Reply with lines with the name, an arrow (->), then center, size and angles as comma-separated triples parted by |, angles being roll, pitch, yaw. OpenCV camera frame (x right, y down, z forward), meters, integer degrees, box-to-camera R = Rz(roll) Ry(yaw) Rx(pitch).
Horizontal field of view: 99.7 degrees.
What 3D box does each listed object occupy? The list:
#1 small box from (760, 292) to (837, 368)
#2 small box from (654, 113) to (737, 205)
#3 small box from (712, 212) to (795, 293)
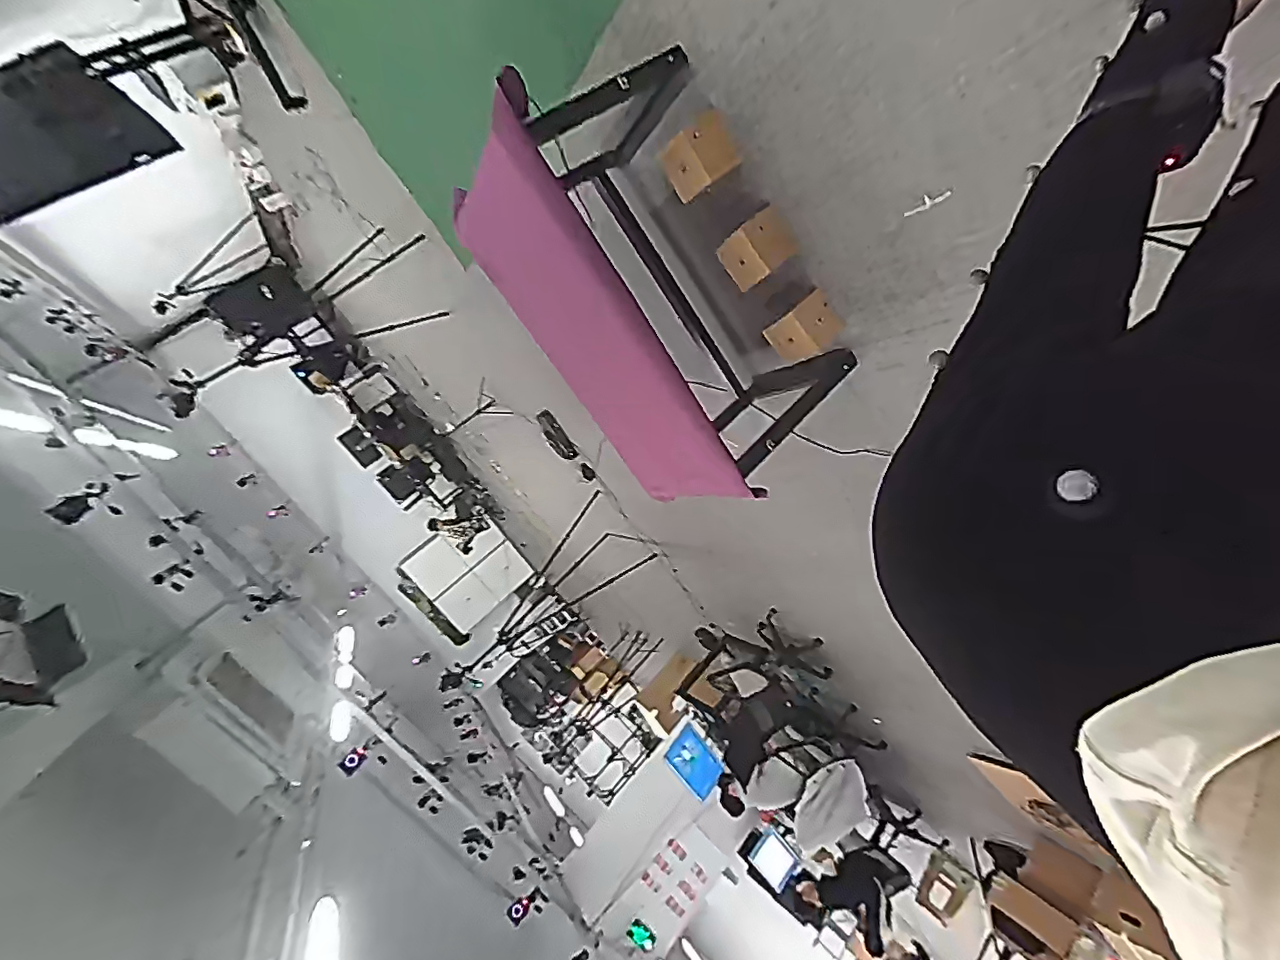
small box -> 0.571, -0.534, 1.925 | 0.168, 0.176, 0.179 | 51, 158, -8
small box -> 0.186, -1.050, 1.769 | 0.179, 0.176, 0.168 | 55, 157, -16
small box -> 0.388, -0.782, 1.847 | 0.179, 0.176, 0.168 | 51, 158, -10
